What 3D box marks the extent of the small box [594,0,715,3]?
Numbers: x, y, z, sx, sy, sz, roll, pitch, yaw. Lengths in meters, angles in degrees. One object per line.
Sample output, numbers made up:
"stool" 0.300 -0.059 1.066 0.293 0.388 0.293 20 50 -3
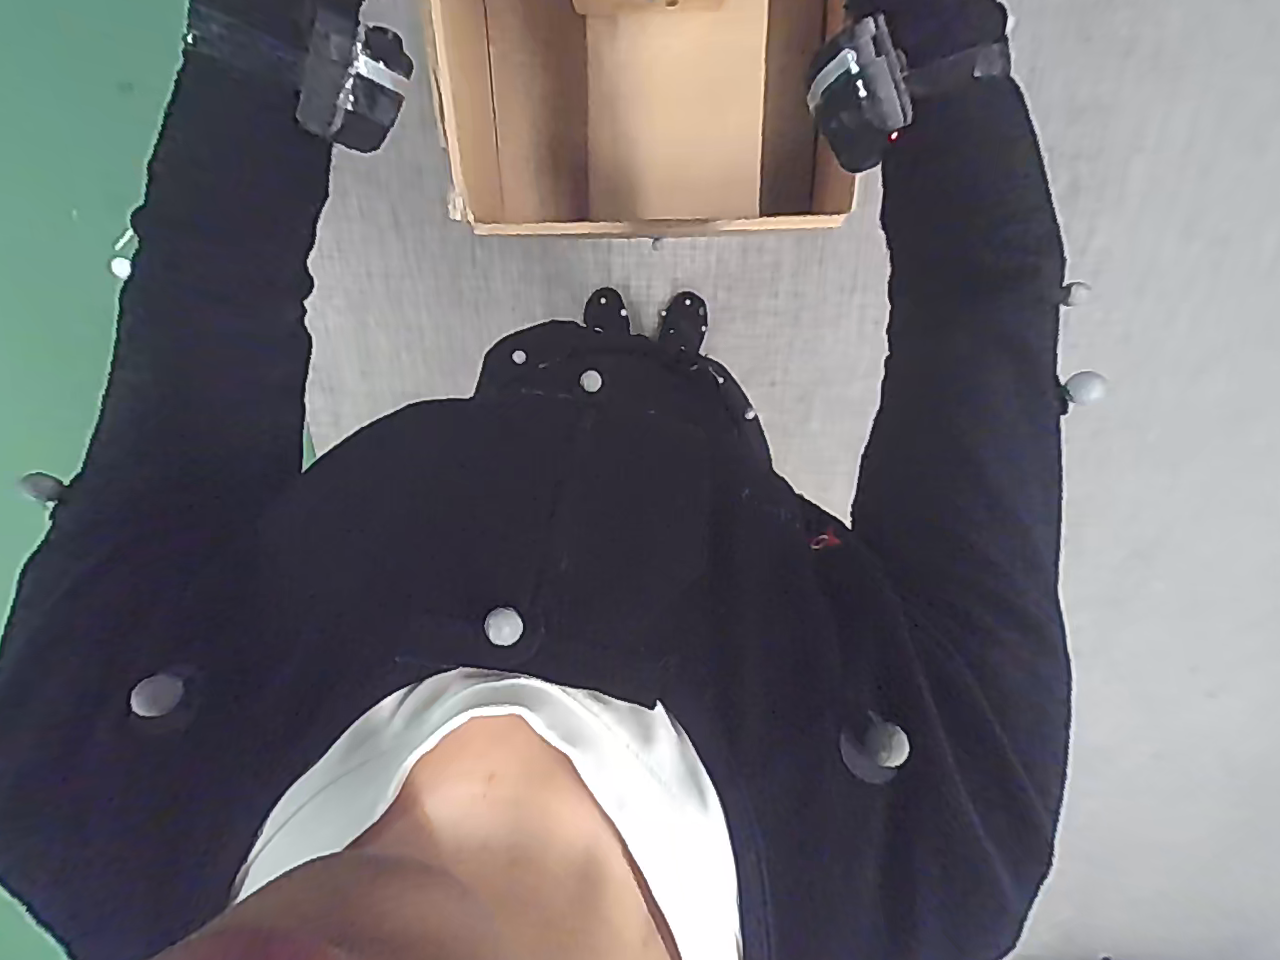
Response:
"small box" 0.008 -0.557 0.475 0.168 0.176 0.179 -2 112 1
